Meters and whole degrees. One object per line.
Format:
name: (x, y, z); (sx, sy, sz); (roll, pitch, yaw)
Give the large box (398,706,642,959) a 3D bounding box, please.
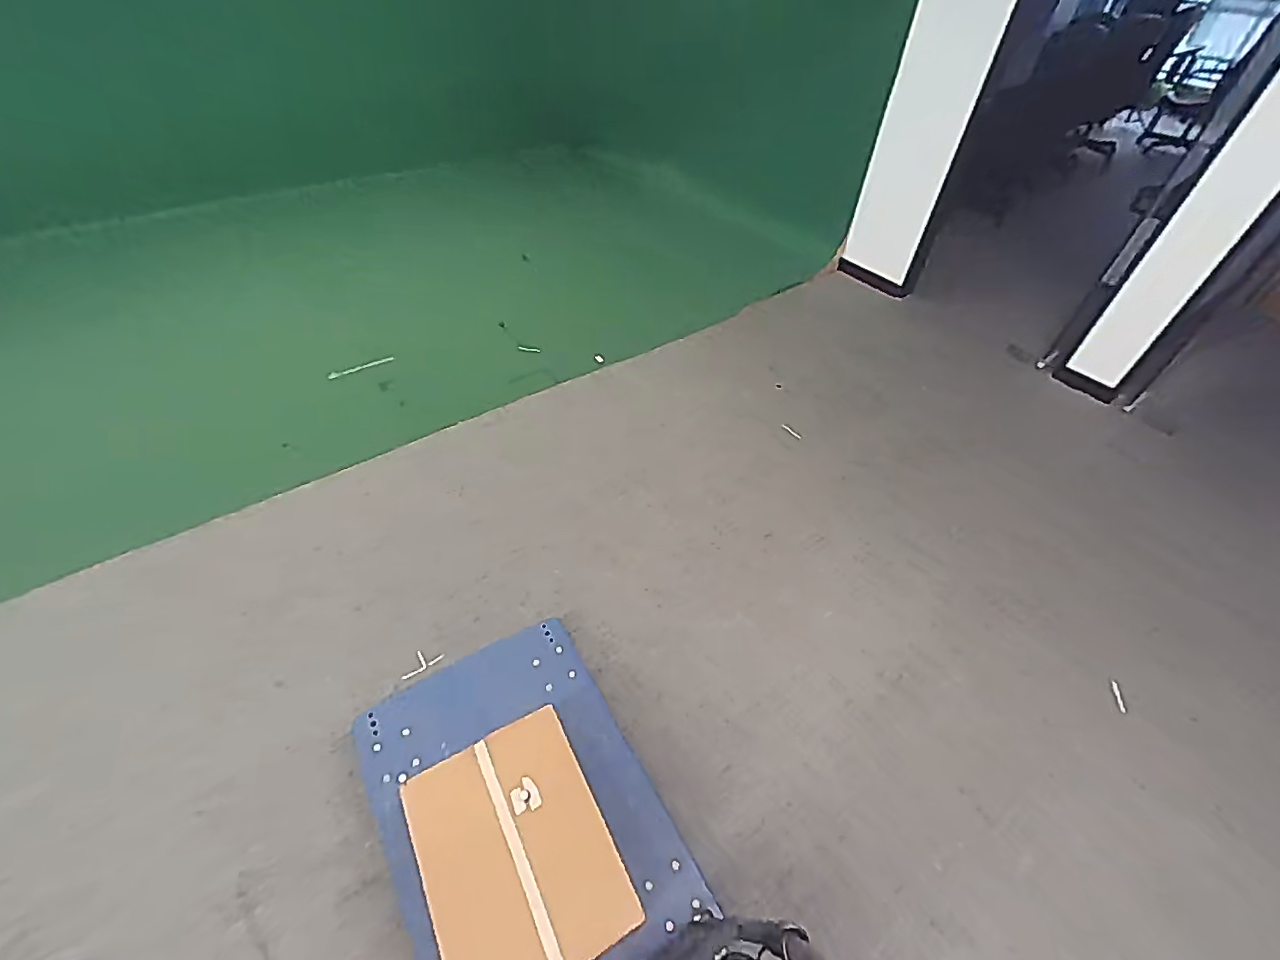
large box: (-0.227, 0.742, 1.059); (0.320, 0.320, 0.408); (-21, 53, -21)
